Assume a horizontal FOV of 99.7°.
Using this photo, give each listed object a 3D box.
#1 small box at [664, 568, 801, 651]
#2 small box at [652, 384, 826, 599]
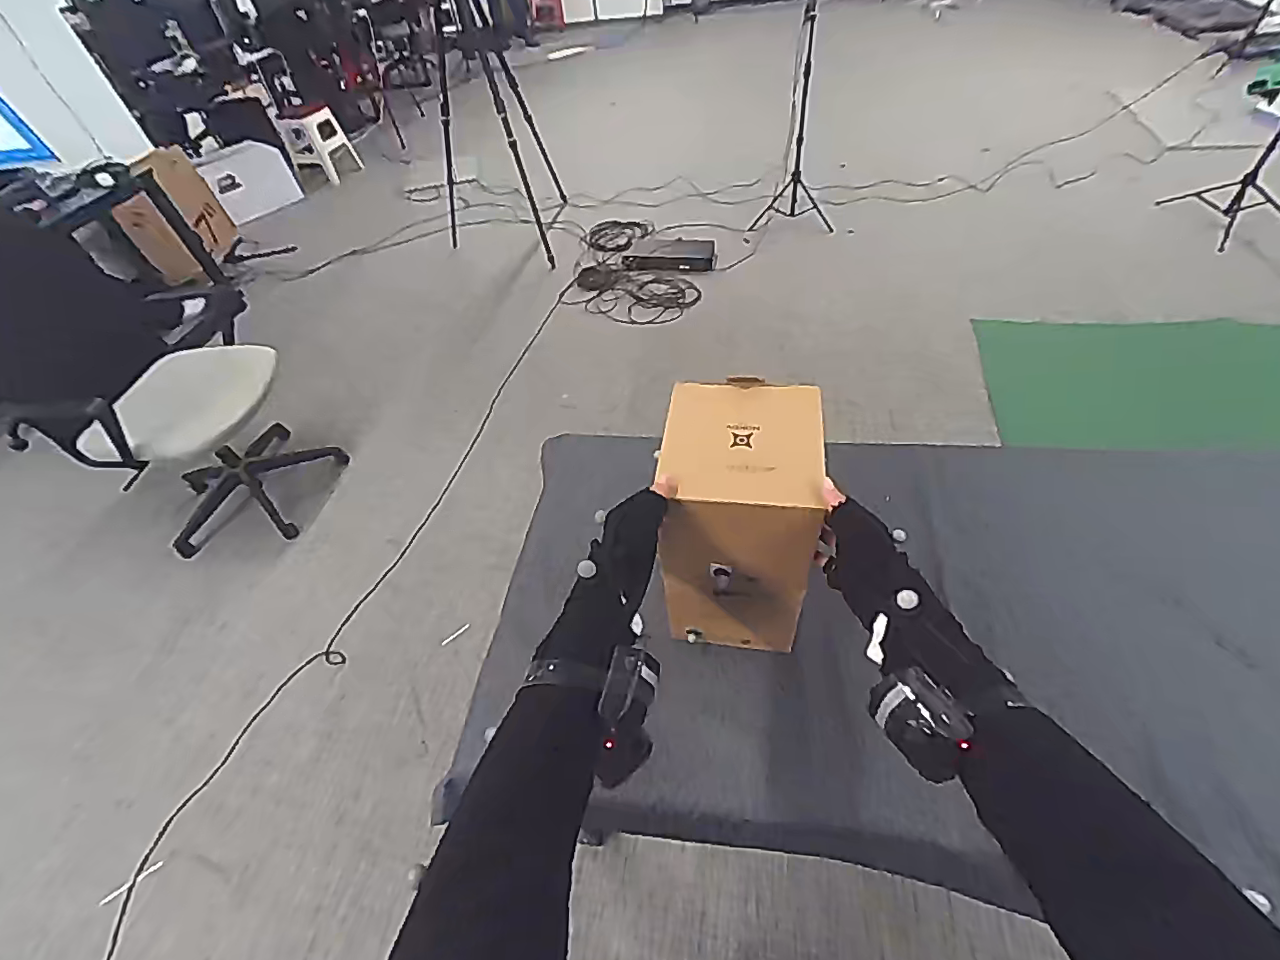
[{"bbox_3d":[0.132,0.115,0.745,0.168,0.176,0.179,4,49,11],"label":"small box"},{"bbox_3d":[0.114,0.012,0.620,0.168,0.176,0.179,4,50,12],"label":"small box"}]
